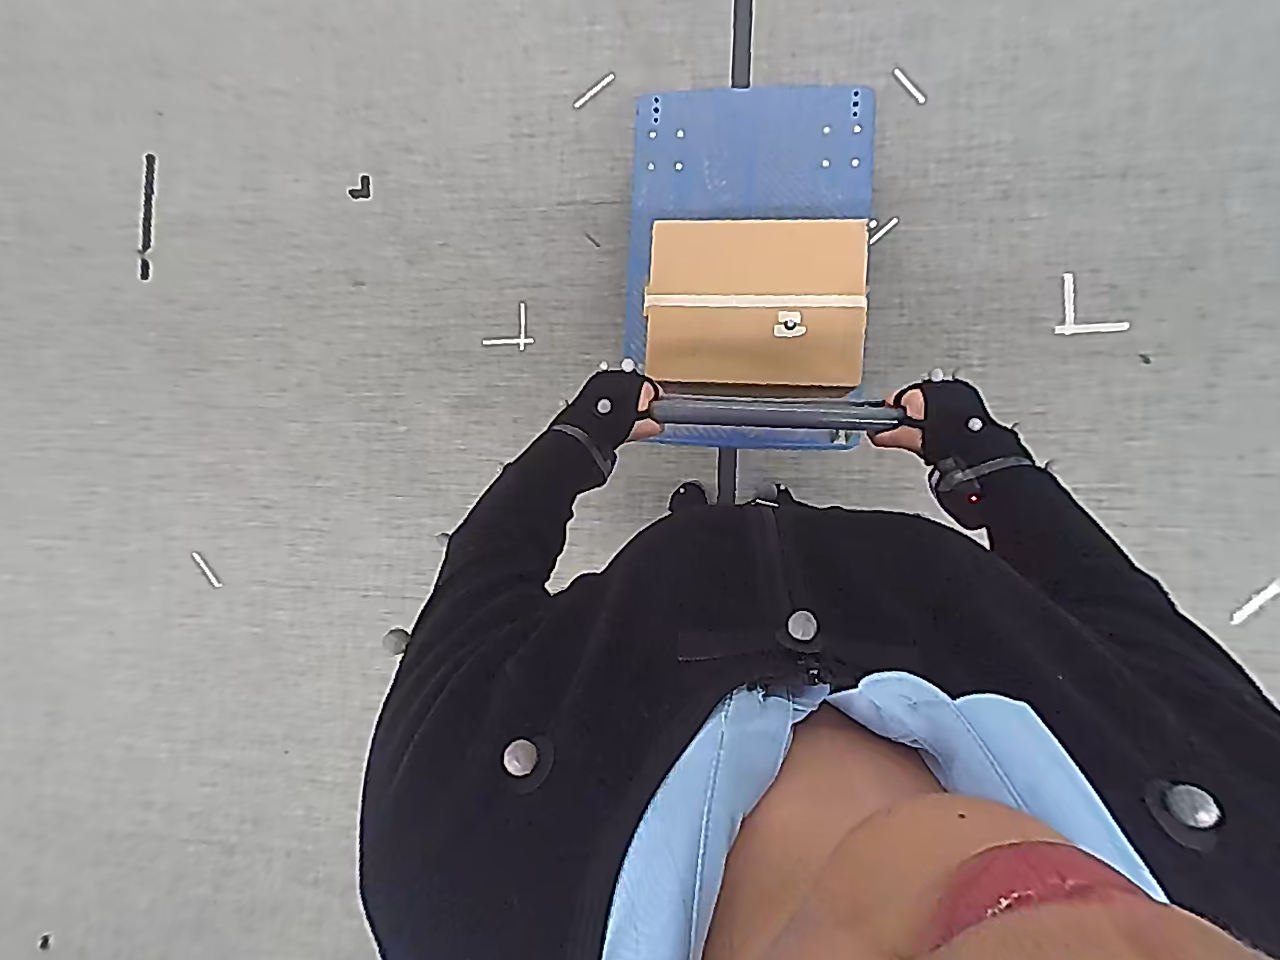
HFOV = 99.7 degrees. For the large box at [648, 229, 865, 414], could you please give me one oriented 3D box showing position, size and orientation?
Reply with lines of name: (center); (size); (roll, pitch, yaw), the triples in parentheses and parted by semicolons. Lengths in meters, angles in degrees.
large box: (0.230, -0.317, 1.169); (0.408, 0.320, 0.320); (3, 90, 6)
